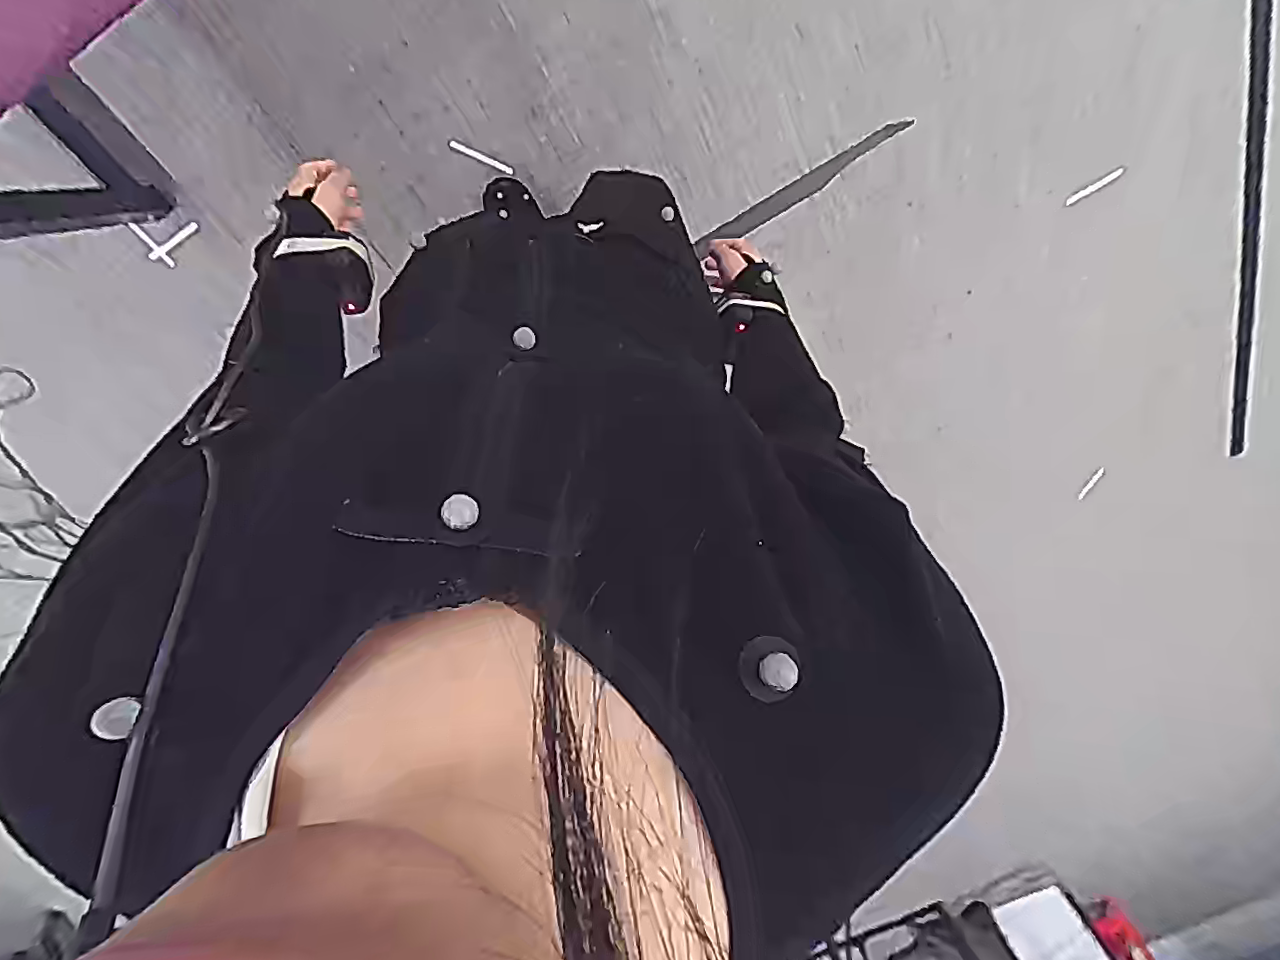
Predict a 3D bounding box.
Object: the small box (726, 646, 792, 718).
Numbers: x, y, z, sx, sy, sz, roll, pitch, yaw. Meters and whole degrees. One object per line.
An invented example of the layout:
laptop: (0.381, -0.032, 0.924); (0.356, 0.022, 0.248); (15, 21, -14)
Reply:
small box: (0.445, 0.753, 2.041); (0.168, 0.176, 0.179); (-27, 120, 8)
